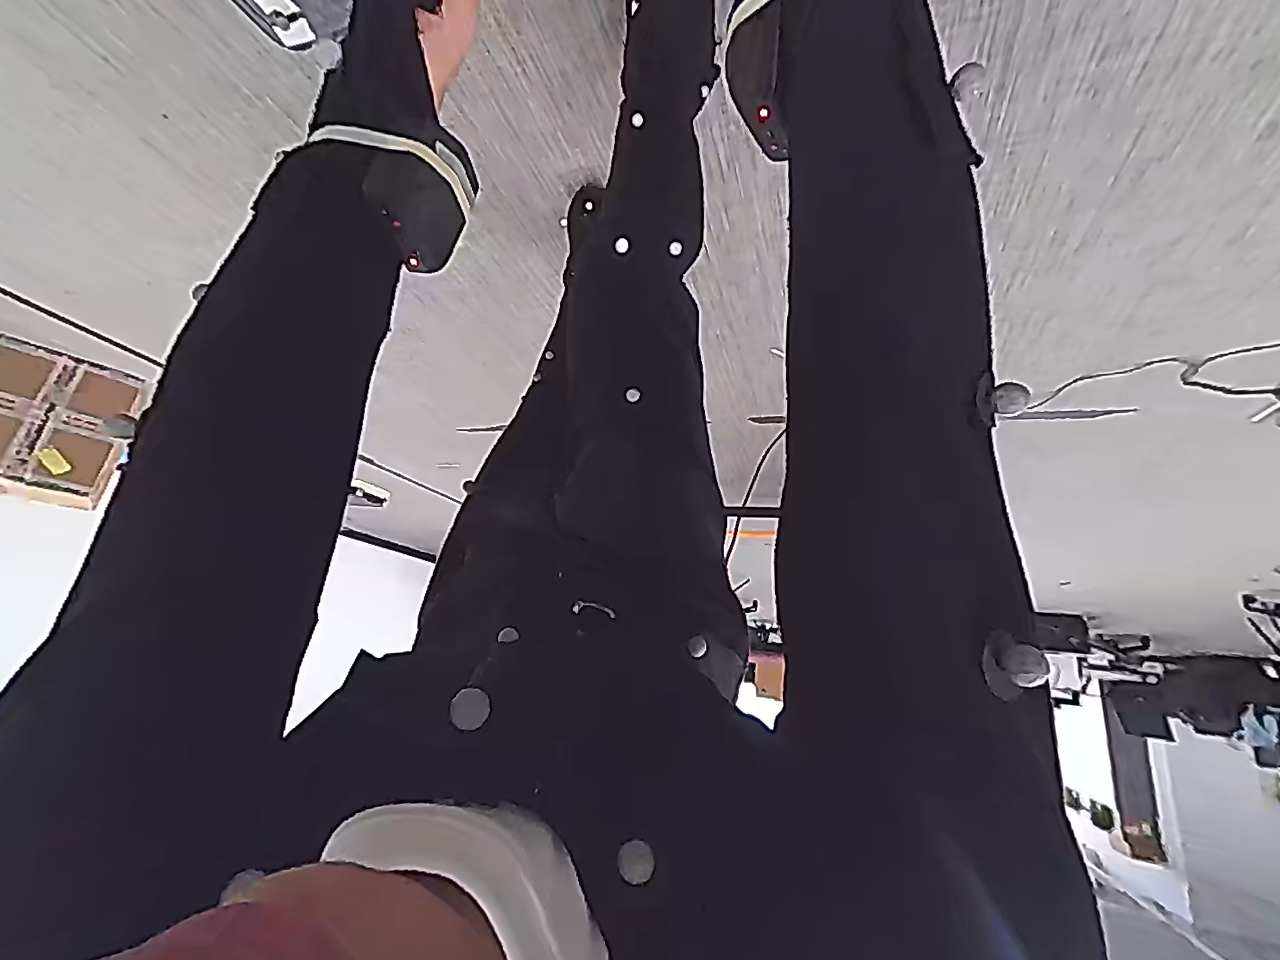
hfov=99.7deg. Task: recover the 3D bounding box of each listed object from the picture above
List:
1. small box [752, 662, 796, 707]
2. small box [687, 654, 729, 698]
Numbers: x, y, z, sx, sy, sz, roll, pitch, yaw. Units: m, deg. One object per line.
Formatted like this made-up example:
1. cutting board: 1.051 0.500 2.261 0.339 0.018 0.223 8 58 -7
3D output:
1. small box: 0.599 0.907 2.406 0.179 0.176 0.168 1 161 20
2. small box: 0.323 0.917 2.531 0.168 0.176 0.179 1 160 16
